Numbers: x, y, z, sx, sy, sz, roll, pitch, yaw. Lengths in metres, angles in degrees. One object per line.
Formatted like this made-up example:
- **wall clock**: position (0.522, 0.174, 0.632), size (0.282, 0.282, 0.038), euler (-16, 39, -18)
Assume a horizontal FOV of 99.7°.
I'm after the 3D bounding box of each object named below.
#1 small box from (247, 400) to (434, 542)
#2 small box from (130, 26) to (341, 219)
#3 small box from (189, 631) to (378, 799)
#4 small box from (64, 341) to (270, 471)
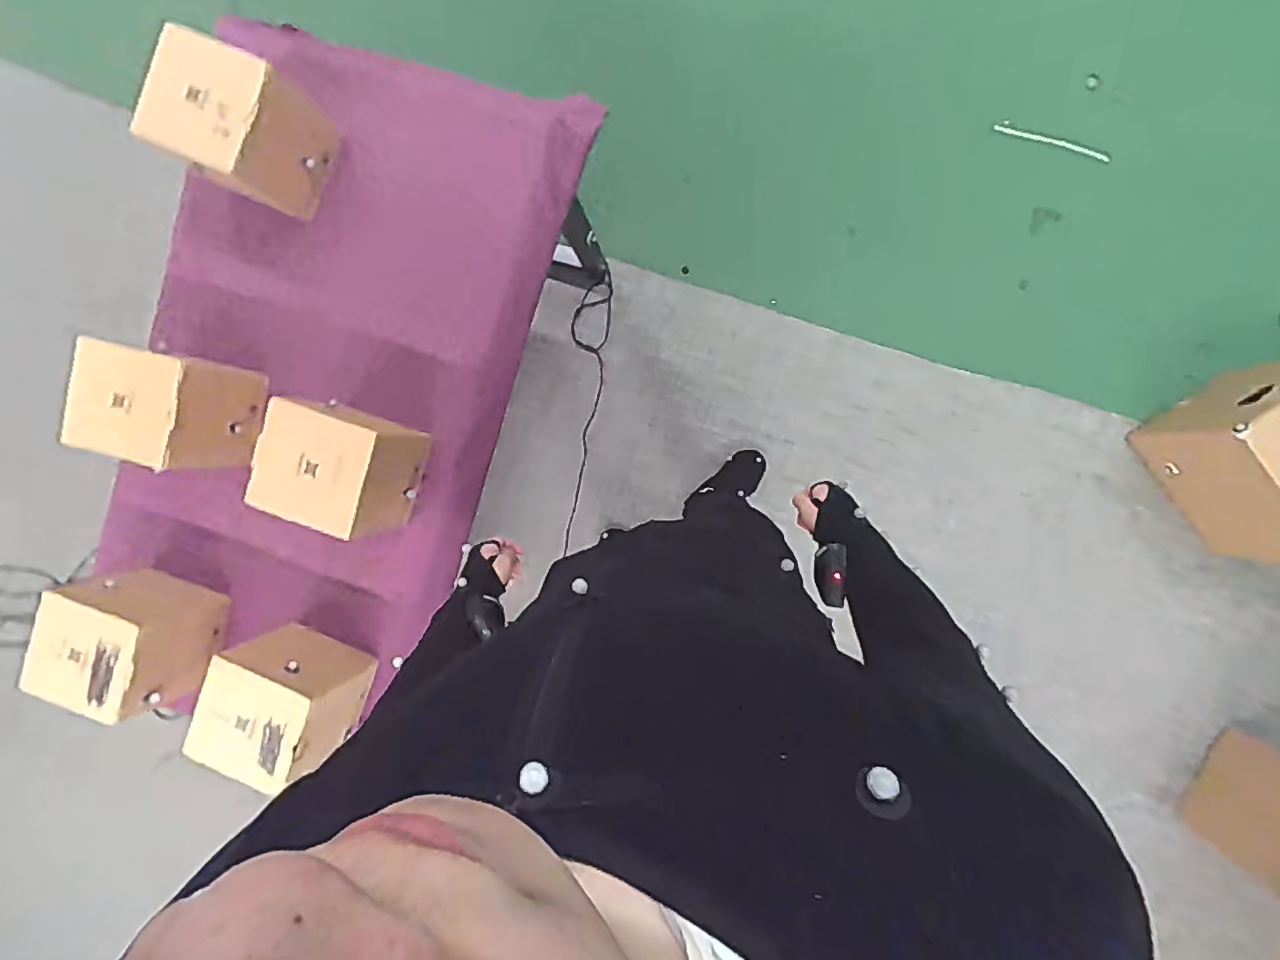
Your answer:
- **small box**: position (-0.464, -0.016, 0.861), size (0.179, 0.176, 0.168), euler (19, 95, 5)
- **small box**: position (-0.620, -0.542, 0.847), size (0.179, 0.176, 0.168), euler (24, 96, 3)
- **small box**: position (-0.569, 0.369, 0.887), size (0.179, 0.176, 0.168), euler (21, 94, 6)
- **small box**: position (-0.760, -0.113, 0.885), size (0.179, 0.176, 0.168), euler (13, 93, 3)
